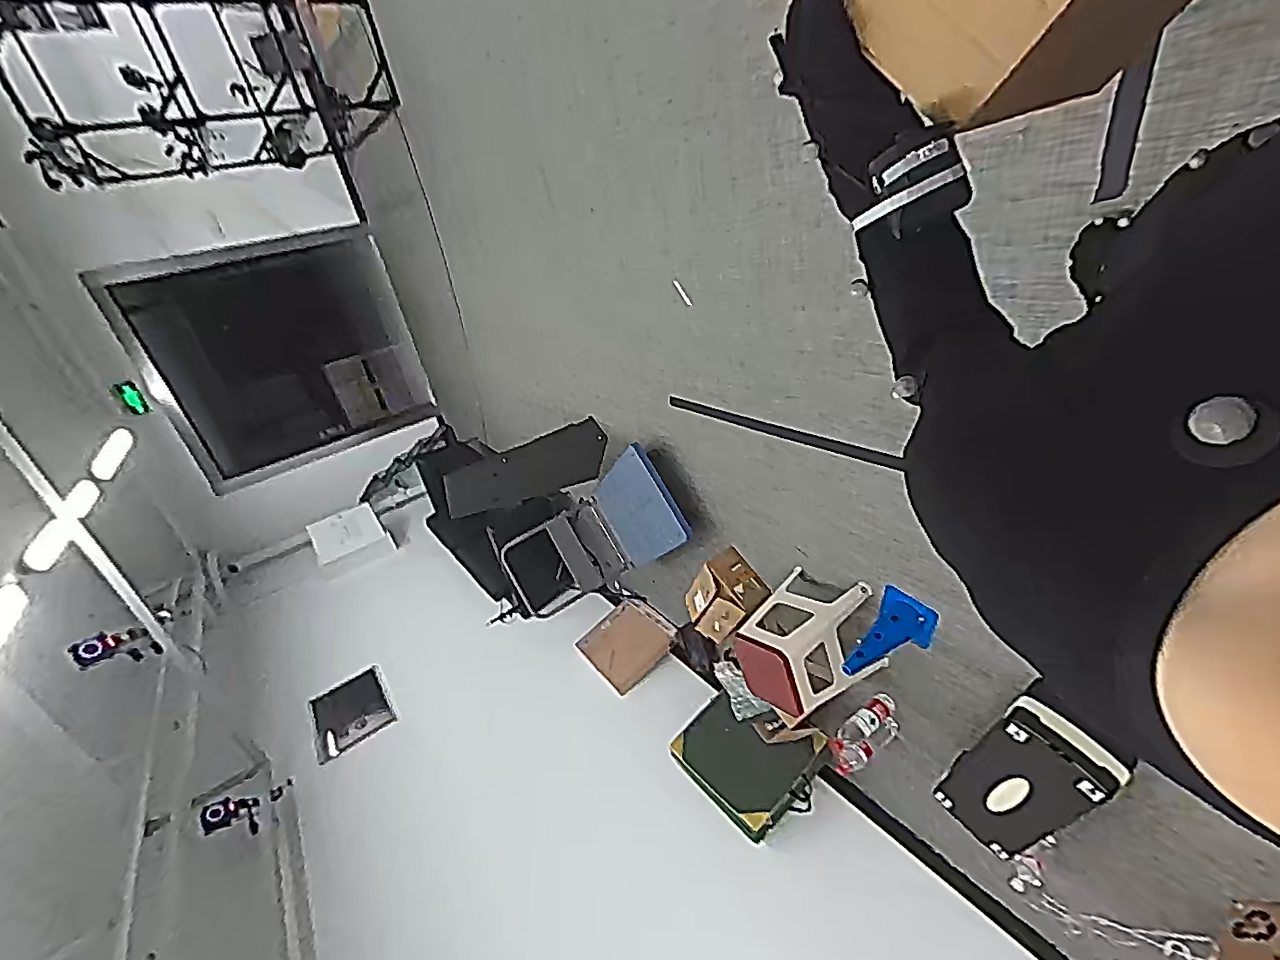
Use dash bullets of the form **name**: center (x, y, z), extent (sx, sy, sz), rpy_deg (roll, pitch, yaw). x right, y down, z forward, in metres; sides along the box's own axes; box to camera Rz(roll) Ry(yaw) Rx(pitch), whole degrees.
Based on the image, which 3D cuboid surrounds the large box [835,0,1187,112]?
- **large box**: center (0.316, -0.529, 0.328), extent (0.320, 0.320, 0.408), rpy_deg (54, 150, 10)
